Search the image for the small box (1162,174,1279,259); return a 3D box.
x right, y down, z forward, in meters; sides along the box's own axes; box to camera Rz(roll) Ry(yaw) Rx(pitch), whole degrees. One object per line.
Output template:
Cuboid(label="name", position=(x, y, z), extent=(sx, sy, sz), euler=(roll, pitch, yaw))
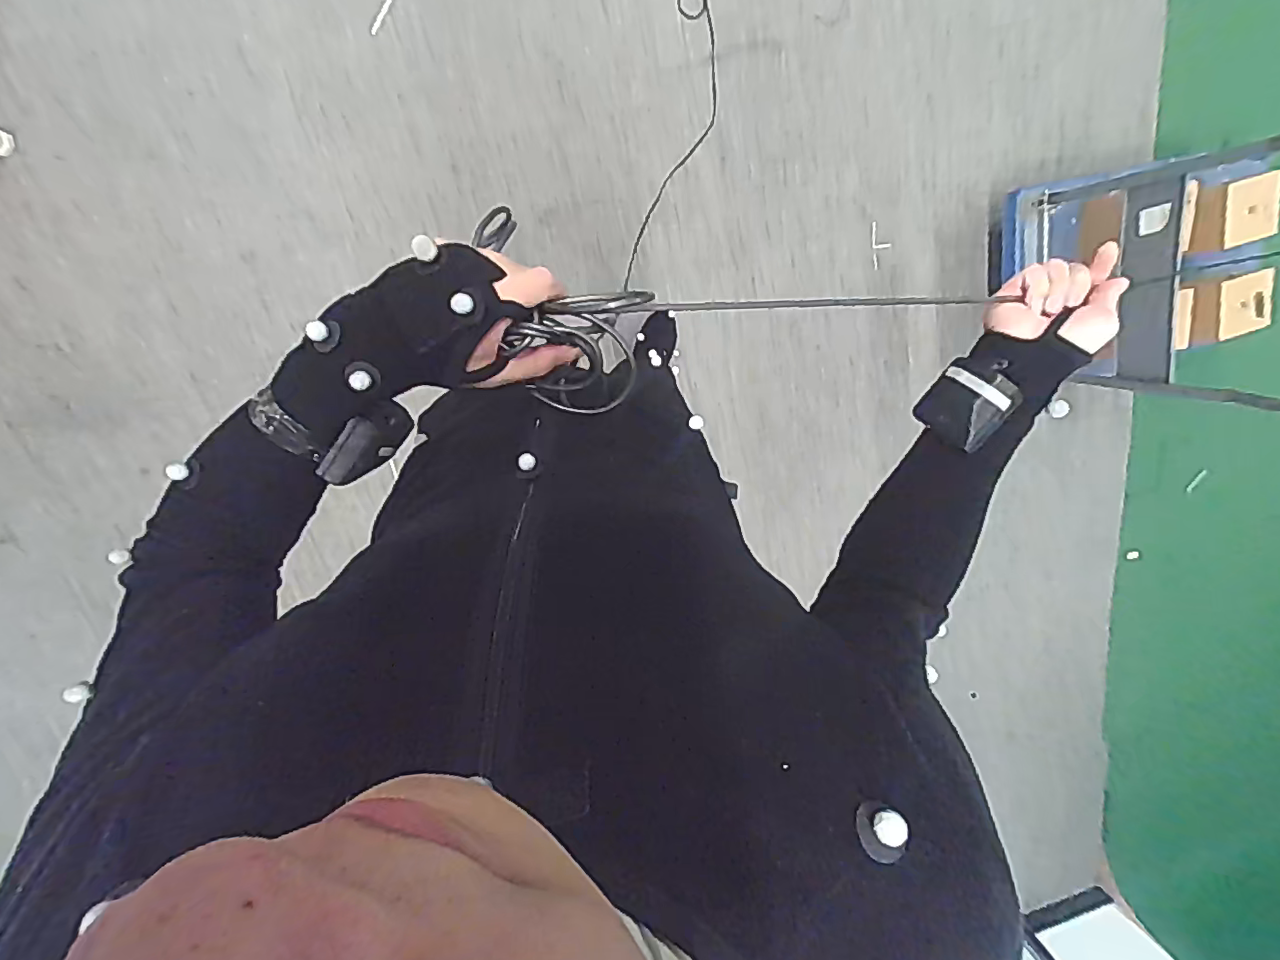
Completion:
Cuboid(label="small box", position=(1.620, -0.730, 1.514), extent=(0.179, 0.176, 0.168), euler=(-17, 108, -6))

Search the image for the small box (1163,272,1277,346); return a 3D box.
Cuboid(label="small box", position=(1.686, -0.499, 1.587), extent=(0.179, 0.176, 0.168), euler=(-17, 106, -5))

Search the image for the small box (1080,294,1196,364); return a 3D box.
Cuboid(label="small box", position=(1.425, -0.436, 1.554), extent=(0.179, 0.176, 0.168), euler=(-12, 106, -7))
